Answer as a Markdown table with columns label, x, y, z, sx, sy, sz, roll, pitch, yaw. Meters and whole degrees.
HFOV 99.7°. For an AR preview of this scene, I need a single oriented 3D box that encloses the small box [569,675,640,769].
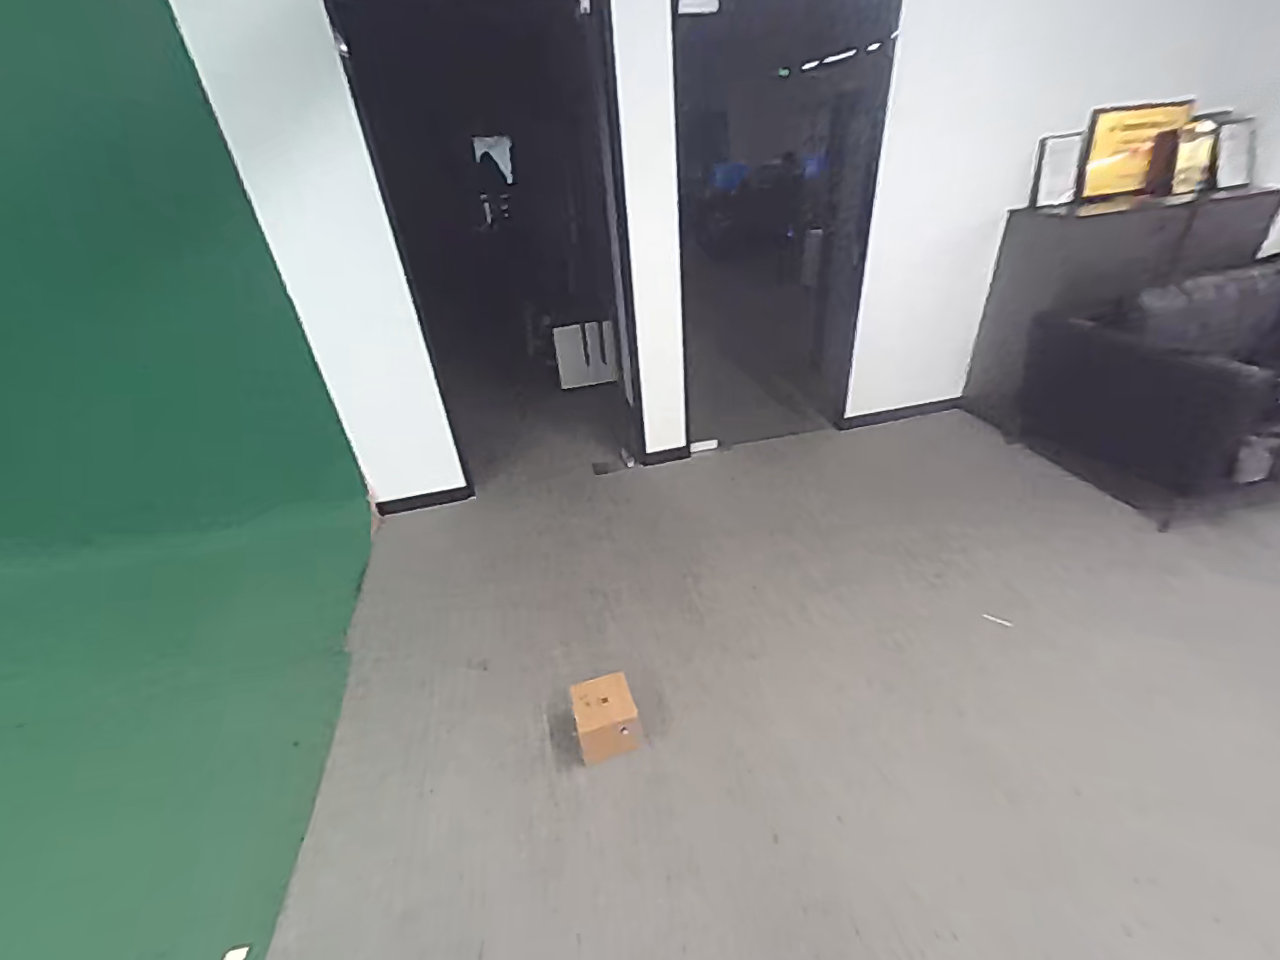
| label | x | y | z | sx | sy | sz | roll | pitch | yaw |
| --- | --- | --- | --- | --- | --- | --- | --- | --- | --- |
| small box | -0.103 | 0.721 | 1.614 | 0.179 | 0.176 | 0.168 | -13 | 33 | -12 |
